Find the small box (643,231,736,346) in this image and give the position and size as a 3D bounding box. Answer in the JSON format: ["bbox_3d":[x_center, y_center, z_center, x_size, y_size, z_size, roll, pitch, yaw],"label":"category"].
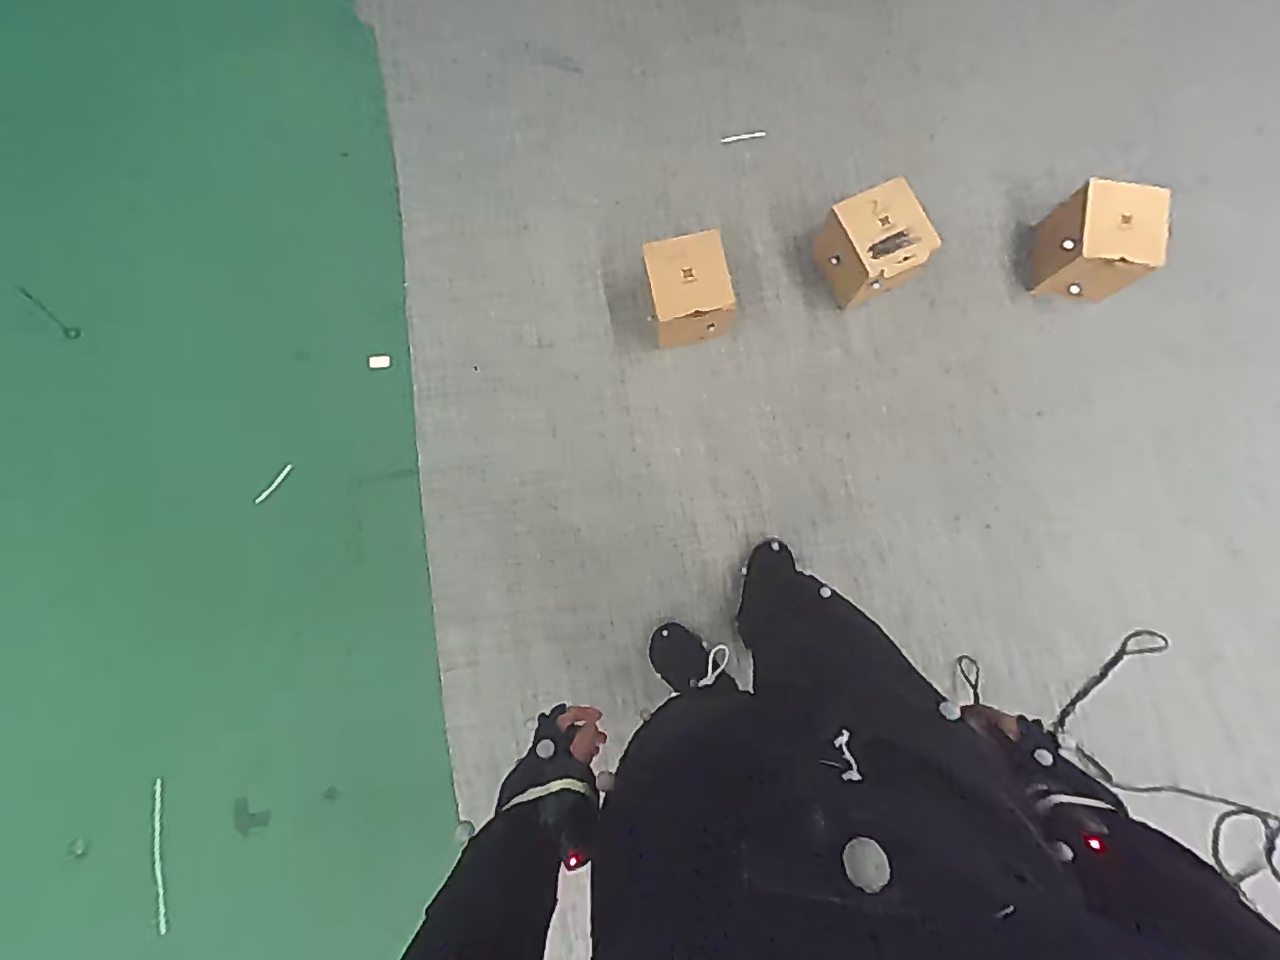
[{"bbox_3d":[0.105,-0.412,1.197,0.168,0.176,0.179,-12,82,-1],"label":"small box"}]

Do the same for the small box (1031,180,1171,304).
[{"bbox_3d":[0.996,-0.512,1.181,0.168,0.176,0.179,10,84,3],"label":"small box"}]
